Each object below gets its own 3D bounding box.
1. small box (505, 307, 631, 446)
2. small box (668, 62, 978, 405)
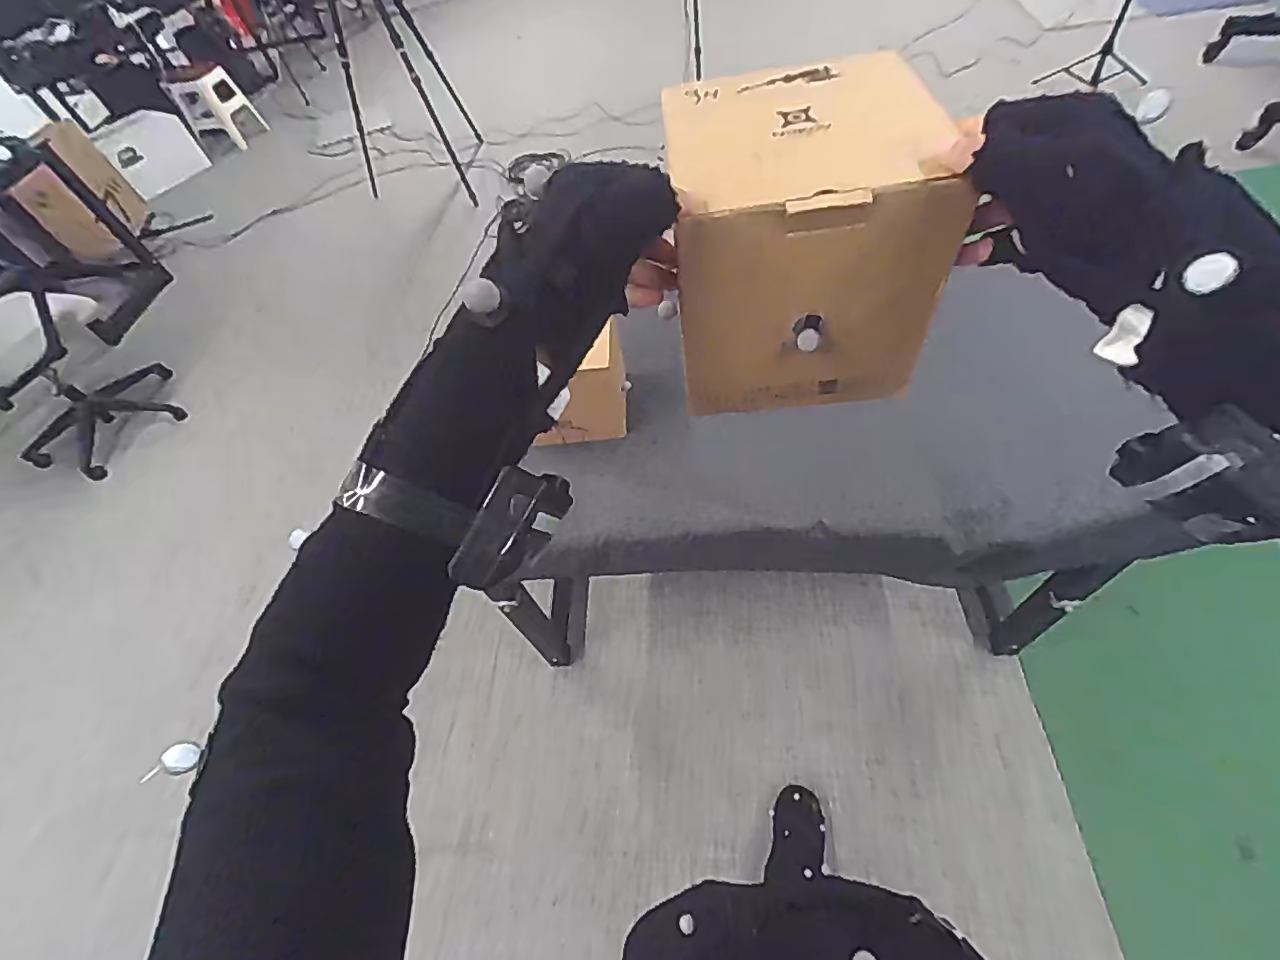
[{"bbox_3d":[-0.115,-0.173,0.942,0.179,0.176,0.168,-5,54,5],"label":"small box"},{"bbox_3d":[0.112,-0.170,0.407,0.168,0.176,0.179,-5,55,6],"label":"small box"}]
